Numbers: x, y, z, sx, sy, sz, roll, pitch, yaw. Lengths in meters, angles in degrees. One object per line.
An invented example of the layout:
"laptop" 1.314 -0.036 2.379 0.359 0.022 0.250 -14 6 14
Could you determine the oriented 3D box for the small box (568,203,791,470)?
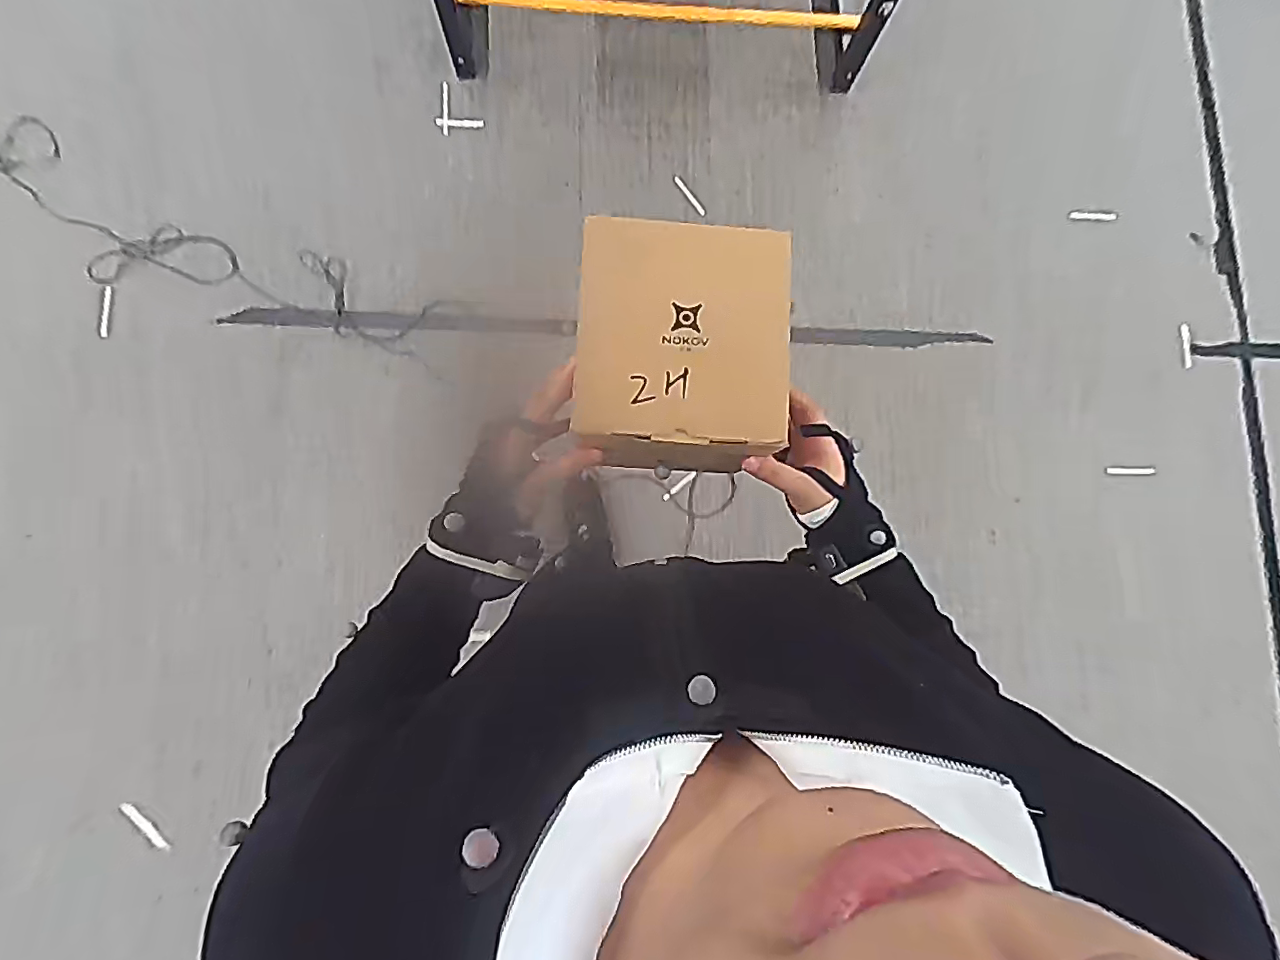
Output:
"small box" 0.027 -0.113 0.489 0.168 0.176 0.179 4 82 -3
